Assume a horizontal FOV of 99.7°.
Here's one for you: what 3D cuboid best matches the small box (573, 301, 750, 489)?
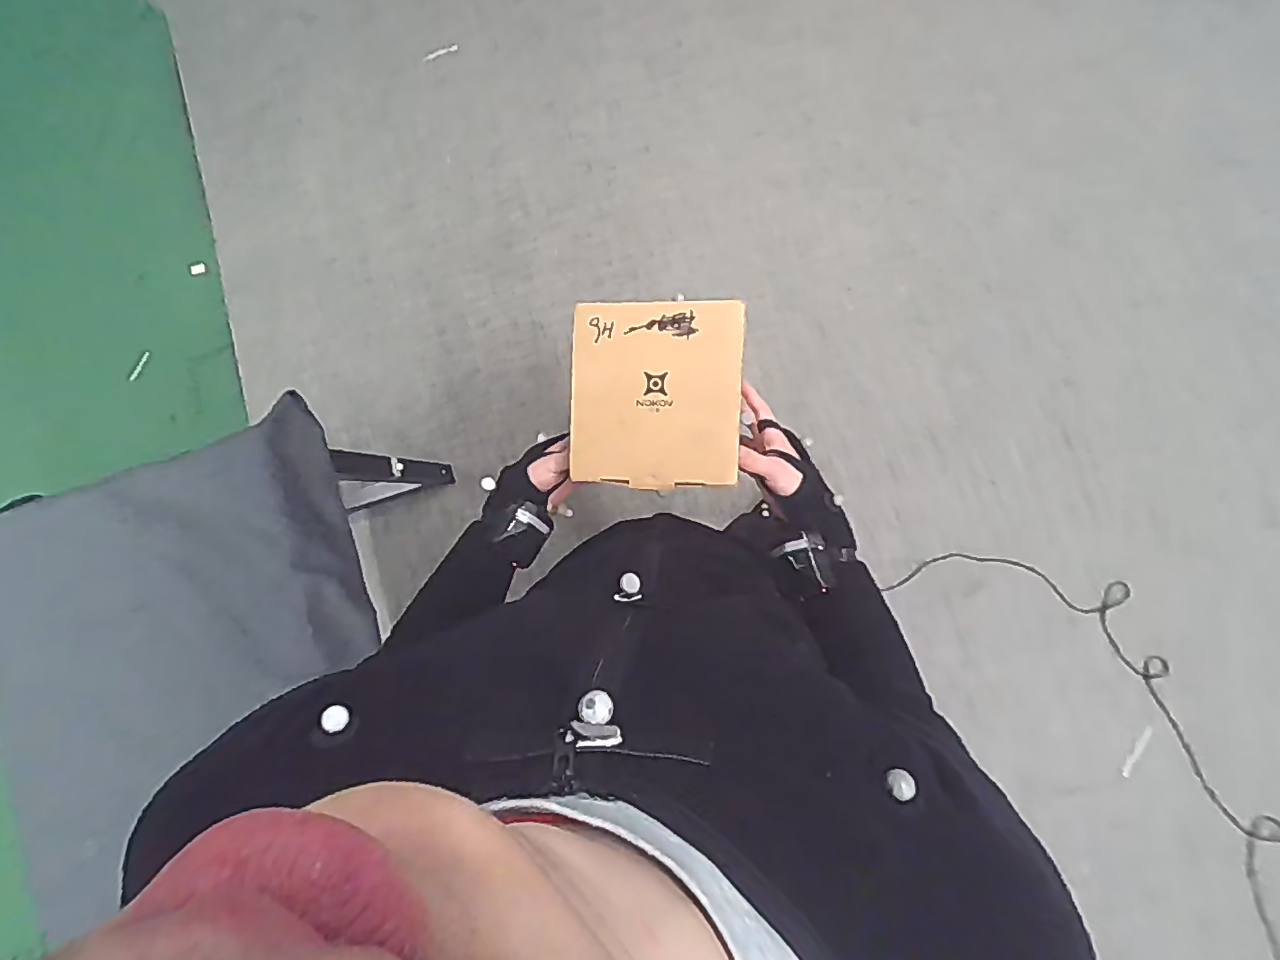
[{"bbox_3d":[0.030,-0.085,0.592,0.168,0.176,0.179,3,92,8],"label":"small box"}]
